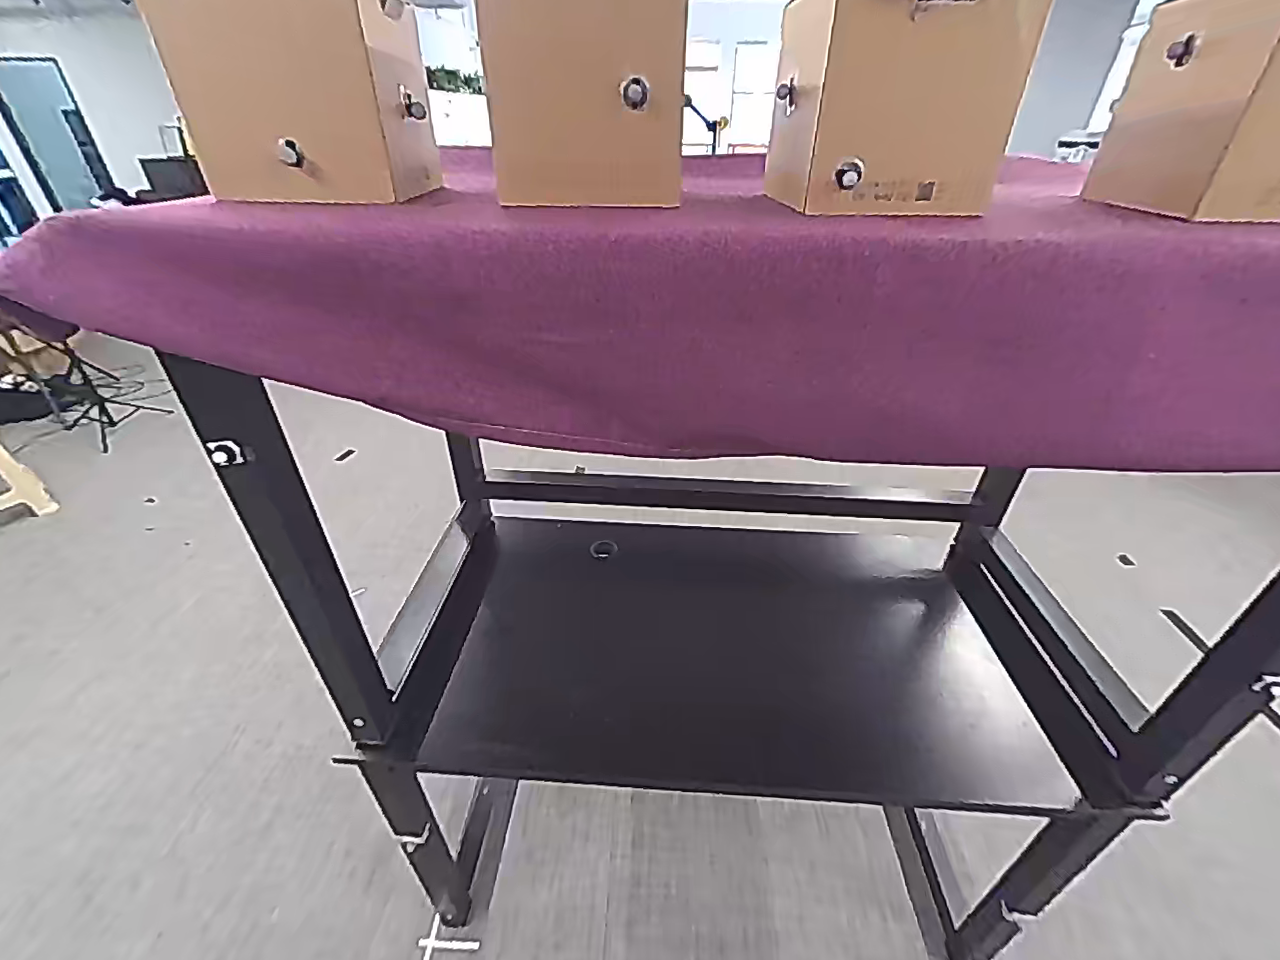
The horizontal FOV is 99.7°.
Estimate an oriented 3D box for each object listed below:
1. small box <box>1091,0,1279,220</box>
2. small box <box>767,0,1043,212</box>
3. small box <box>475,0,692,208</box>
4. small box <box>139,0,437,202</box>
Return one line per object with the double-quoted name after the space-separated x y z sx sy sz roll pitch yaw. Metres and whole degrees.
0.554 -0.328 0.471 0.168 0.176 0.179 4 33 6 "small box"
0.224 -0.350 0.502 0.168 0.176 0.179 0 32 -1 "small box"
-0.046 -0.371 0.532 0.179 0.176 0.168 0 33 0 "small box"
-0.315 -0.376 0.530 0.179 0.176 0.168 0 33 -2 "small box"
